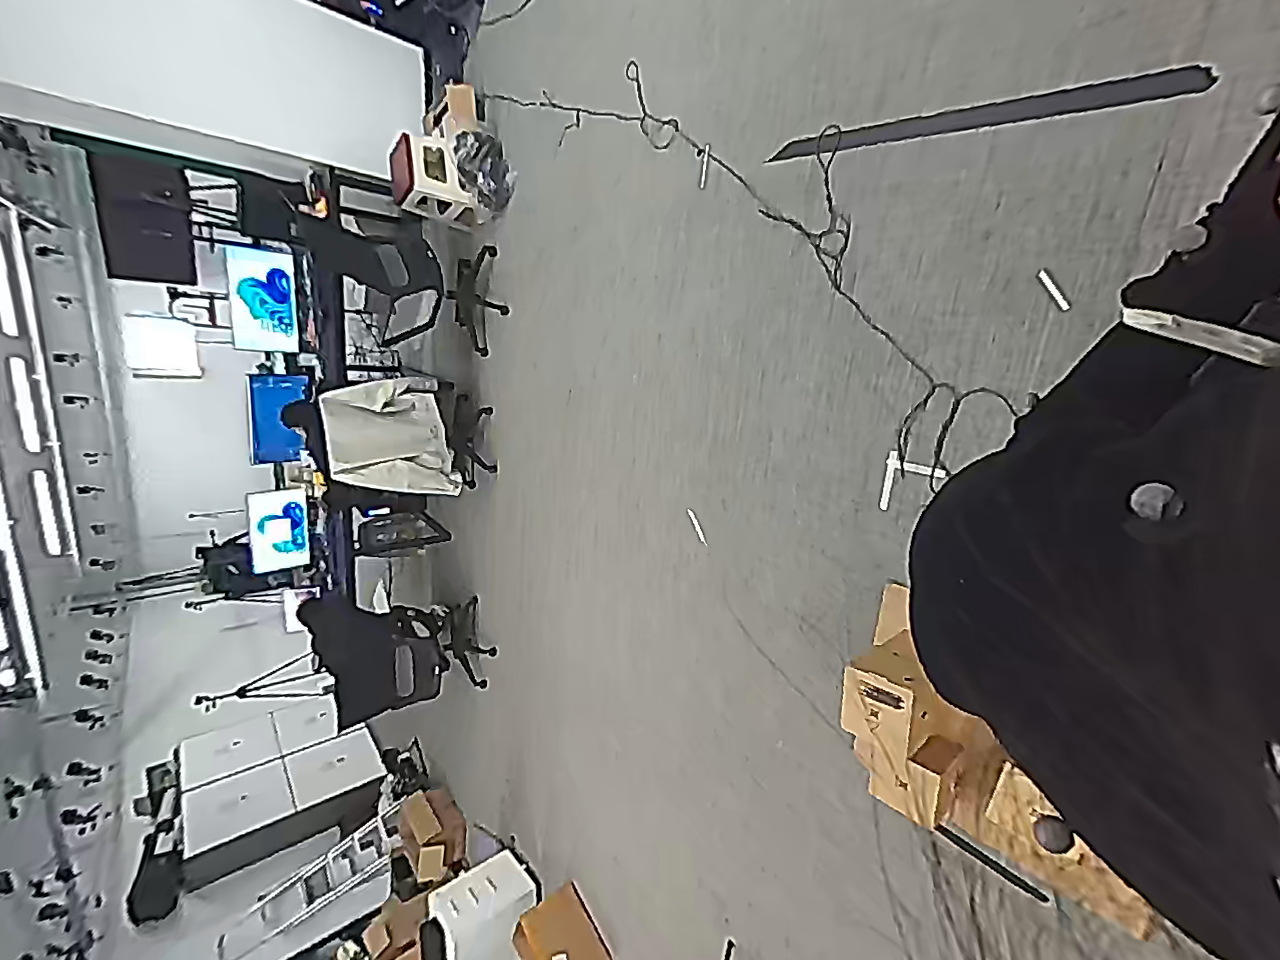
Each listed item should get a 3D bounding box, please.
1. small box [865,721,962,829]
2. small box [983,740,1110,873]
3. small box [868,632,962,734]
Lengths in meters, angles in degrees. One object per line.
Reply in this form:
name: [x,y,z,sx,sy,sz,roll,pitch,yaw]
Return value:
small box: [0.744,0.788,1.472,0.179,0.176,0.168,13,107,47]
small box: [0.931,0.730,1.239,0.179,0.176,0.168,24,114,44]
small box: [0.735,0.530,1.440,0.168,0.176,0.179,14,106,48]
